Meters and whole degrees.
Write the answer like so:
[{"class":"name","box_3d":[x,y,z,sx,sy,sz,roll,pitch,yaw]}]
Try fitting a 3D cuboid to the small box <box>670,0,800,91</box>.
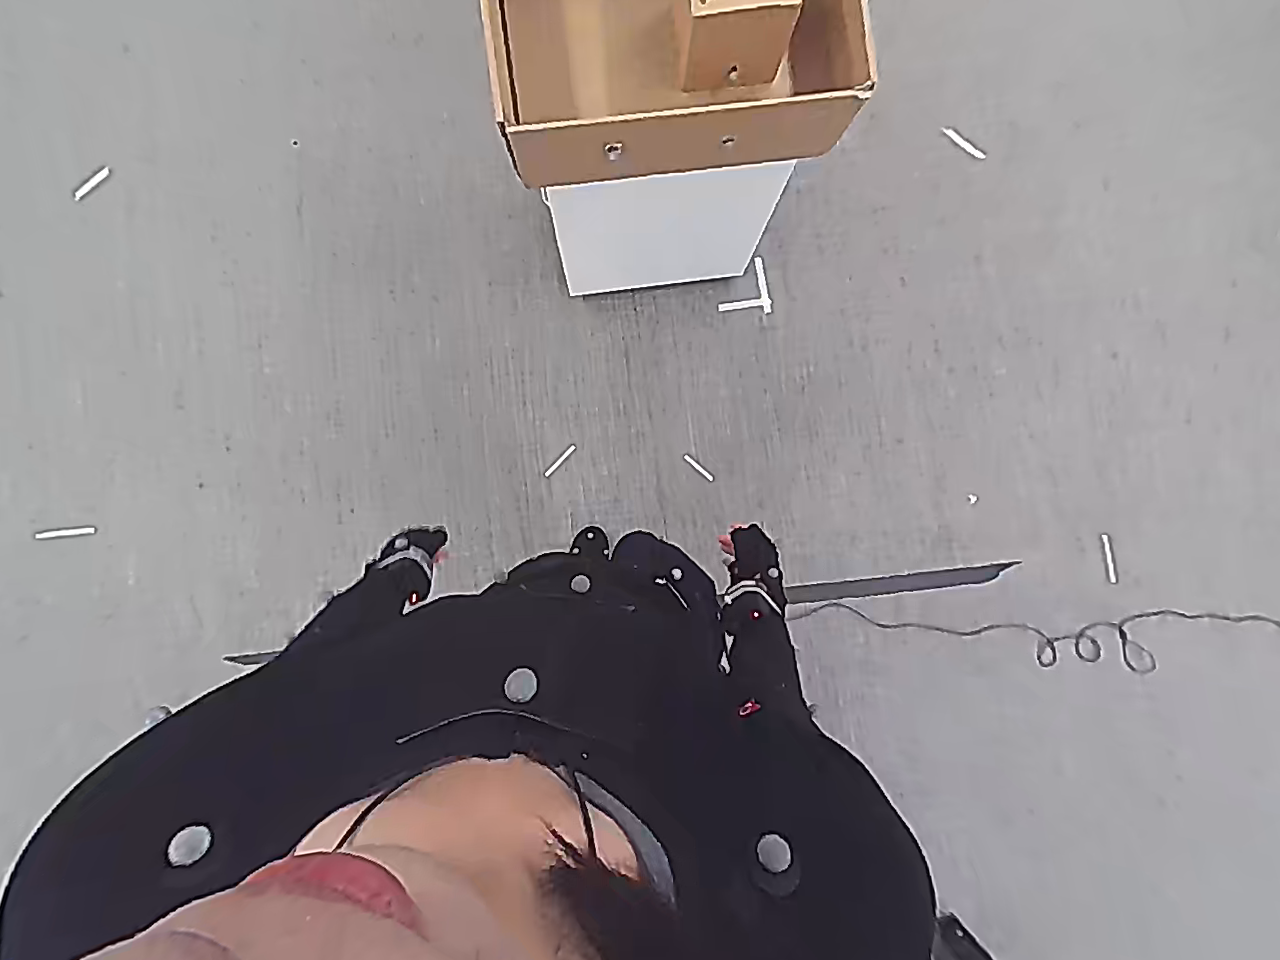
[{"class":"small box","box_3d":[0.152,-0.804,0.919,0.179,0.176,0.168,-8,90,-2]}]
